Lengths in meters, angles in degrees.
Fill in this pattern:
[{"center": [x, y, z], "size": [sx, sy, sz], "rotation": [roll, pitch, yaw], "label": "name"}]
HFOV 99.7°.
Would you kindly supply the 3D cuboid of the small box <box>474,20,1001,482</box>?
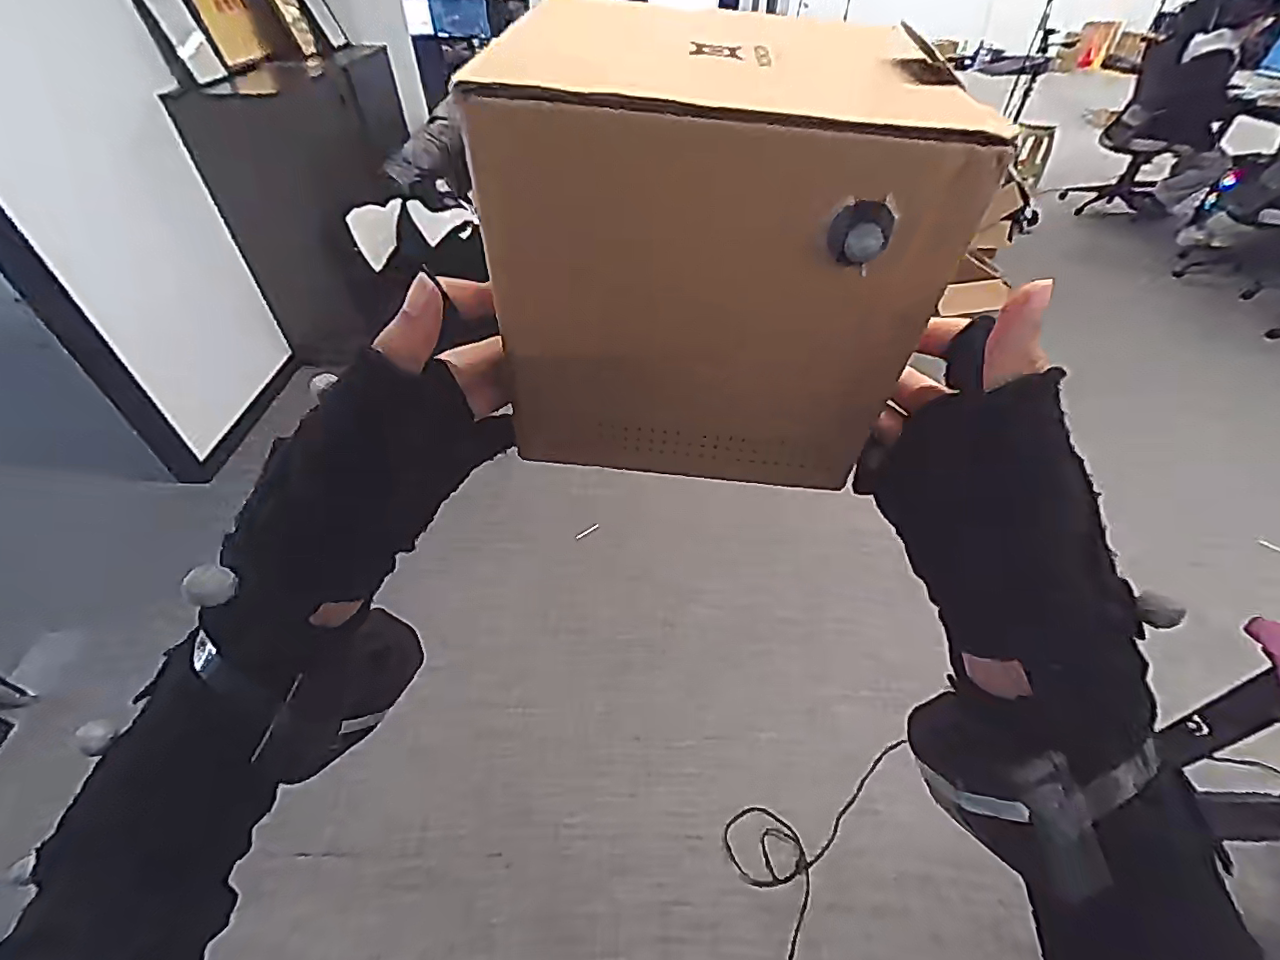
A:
[{"center": [0.033, -0.115, 0.286], "size": [0.179, 0.176, 0.168], "rotation": [6, 49, 0], "label": "small box"}]
